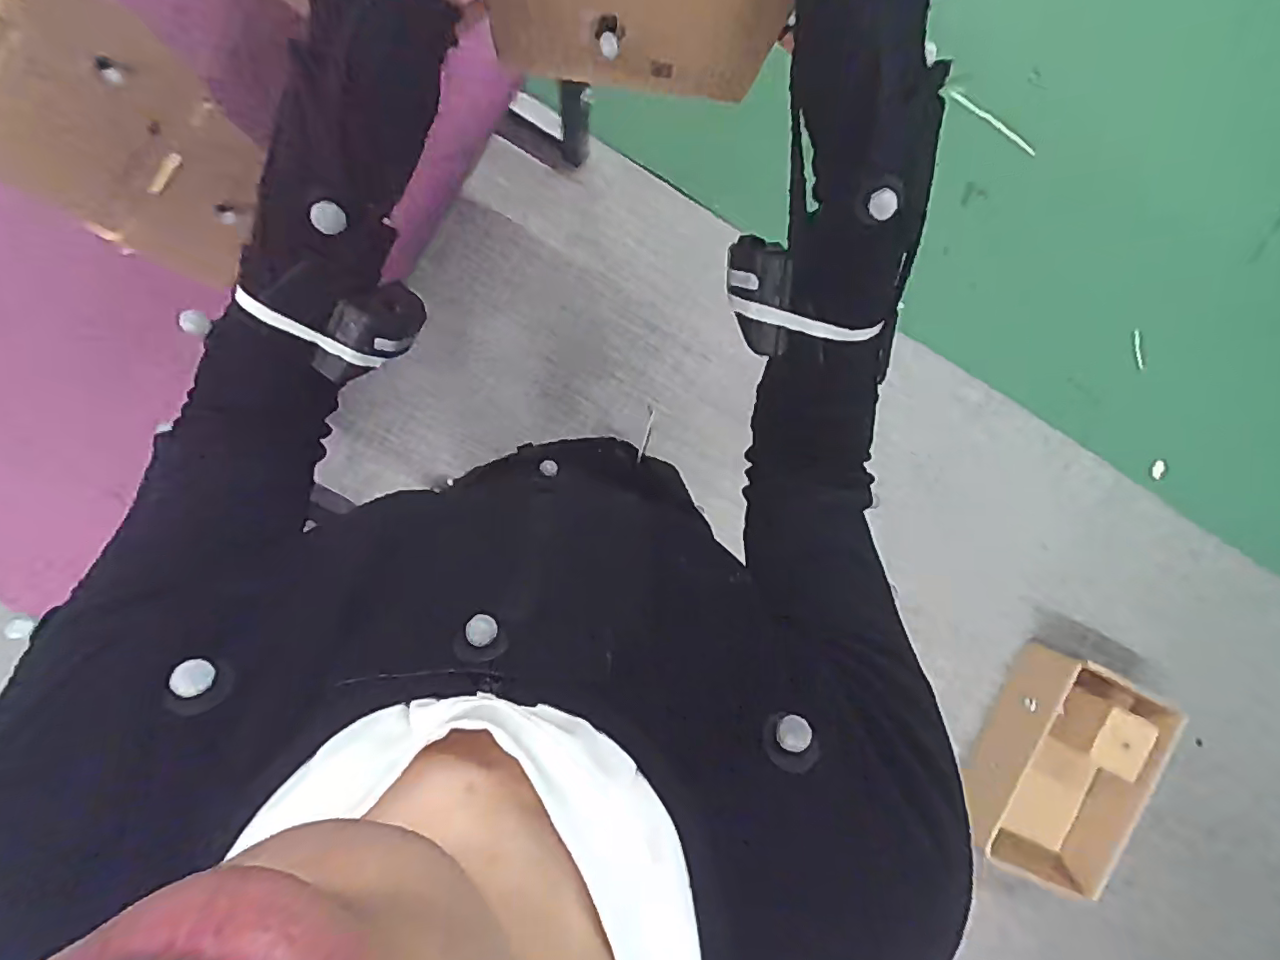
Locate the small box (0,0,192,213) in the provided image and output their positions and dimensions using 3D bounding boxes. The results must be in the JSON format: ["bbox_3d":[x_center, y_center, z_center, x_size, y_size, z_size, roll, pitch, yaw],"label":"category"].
[{"bbox_3d":[-0.513,-0.339,0.415,0.179,0.176,0.168,33,89,-8],"label":"small box"}]

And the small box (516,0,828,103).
[{"bbox_3d":[0.019,-0.332,0.266,0.168,0.176,0.179,4,102,-7],"label":"small box"}]

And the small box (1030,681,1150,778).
[{"bbox_3d":[1.299,0.716,1.570,0.179,0.176,0.168,28,90,-9],"label":"small box"}]

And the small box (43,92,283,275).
[{"bbox_3d":[-0.535,-0.344,0.577,0.179,0.176,0.168,33,89,-9],"label":"small box"}]
